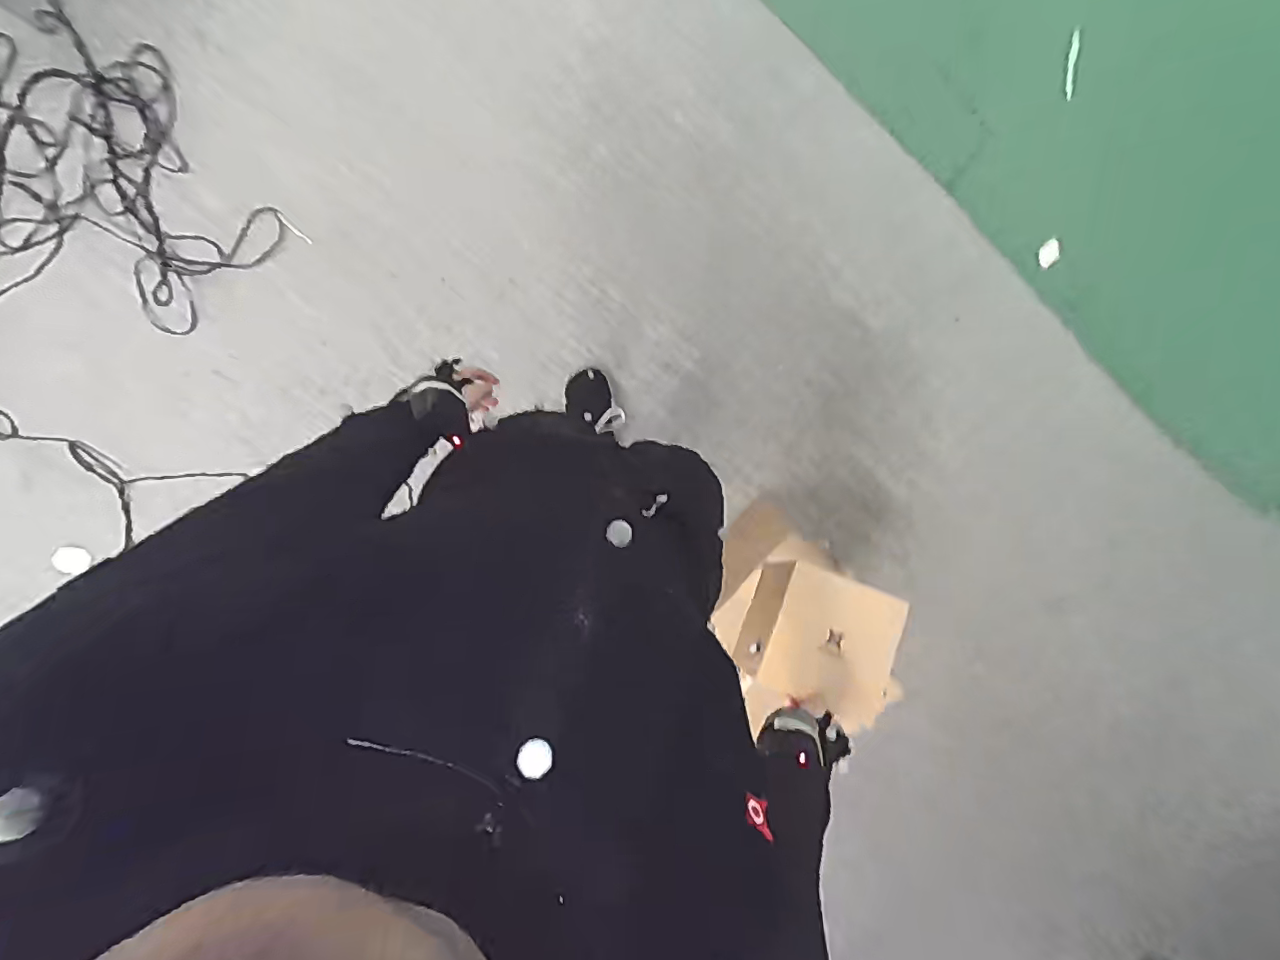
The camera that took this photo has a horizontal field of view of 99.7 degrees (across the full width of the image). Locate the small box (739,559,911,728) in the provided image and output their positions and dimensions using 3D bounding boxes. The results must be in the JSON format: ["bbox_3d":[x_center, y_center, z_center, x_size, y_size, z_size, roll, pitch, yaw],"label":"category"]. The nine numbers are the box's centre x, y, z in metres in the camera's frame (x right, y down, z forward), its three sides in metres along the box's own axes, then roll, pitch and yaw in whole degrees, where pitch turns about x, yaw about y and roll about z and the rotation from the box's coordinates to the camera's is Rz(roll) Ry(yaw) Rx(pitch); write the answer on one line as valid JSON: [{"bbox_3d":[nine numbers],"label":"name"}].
[{"bbox_3d":[0.258,0.227,0.794,0.168,0.176,0.179,21,81,2],"label":"small box"}]

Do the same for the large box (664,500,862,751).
[{"bbox_3d":[0.298,0.321,1.275,0.320,0.320,0.408,39,102,-7],"label":"large box"}]
